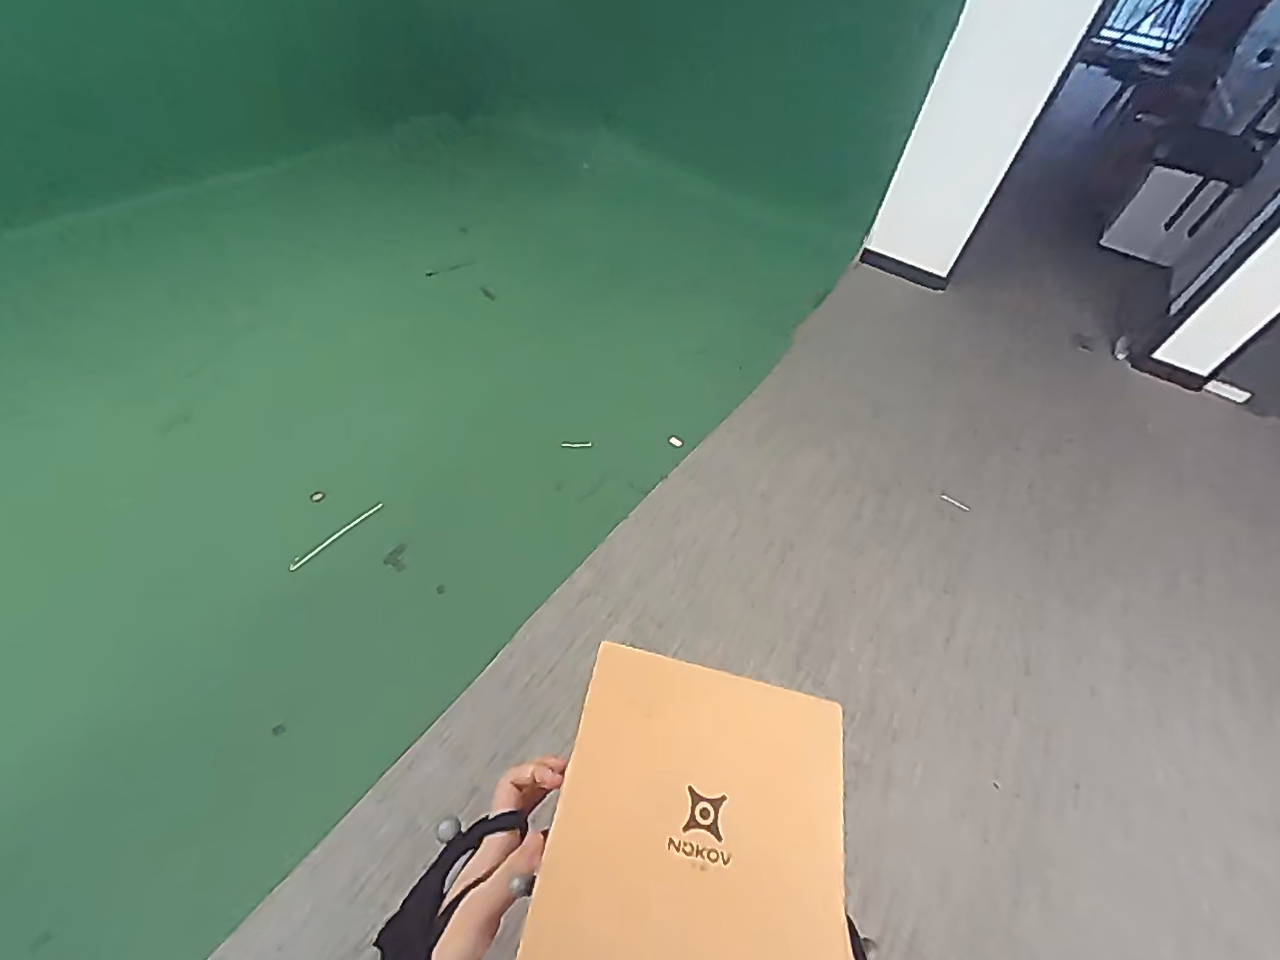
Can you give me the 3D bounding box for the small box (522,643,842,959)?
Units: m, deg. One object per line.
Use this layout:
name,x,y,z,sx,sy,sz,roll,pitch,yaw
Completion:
small box,0.022,0.242,0.373,0.168,0.176,0.179,15,53,-1
